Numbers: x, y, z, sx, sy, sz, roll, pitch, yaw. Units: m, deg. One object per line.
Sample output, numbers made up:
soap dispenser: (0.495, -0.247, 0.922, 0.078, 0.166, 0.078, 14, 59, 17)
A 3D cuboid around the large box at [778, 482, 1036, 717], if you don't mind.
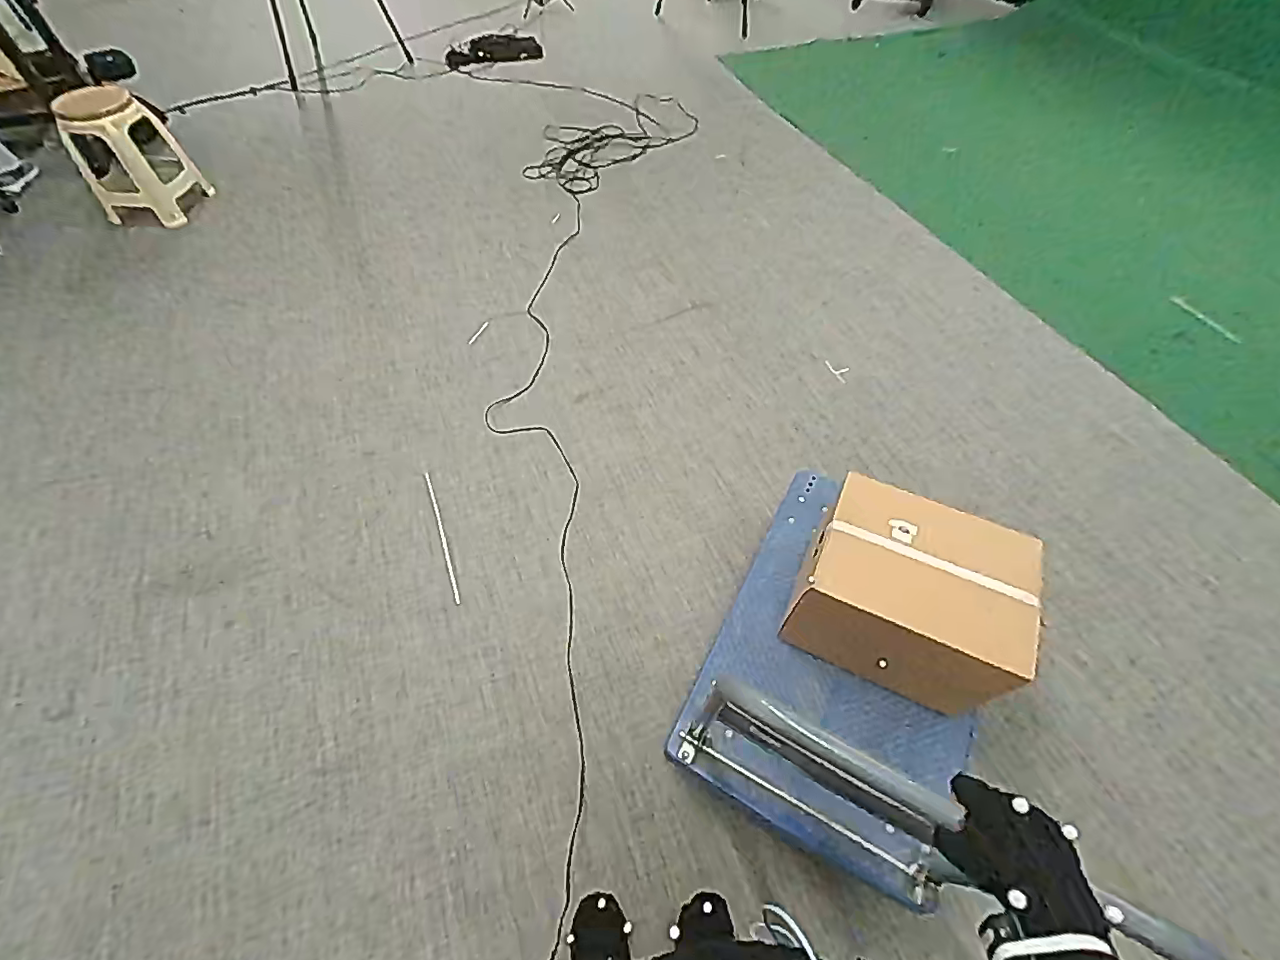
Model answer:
large box: (0.566, 0.267, 1.191, 0.408, 0.320, 0.320, 21, 57, 14)
